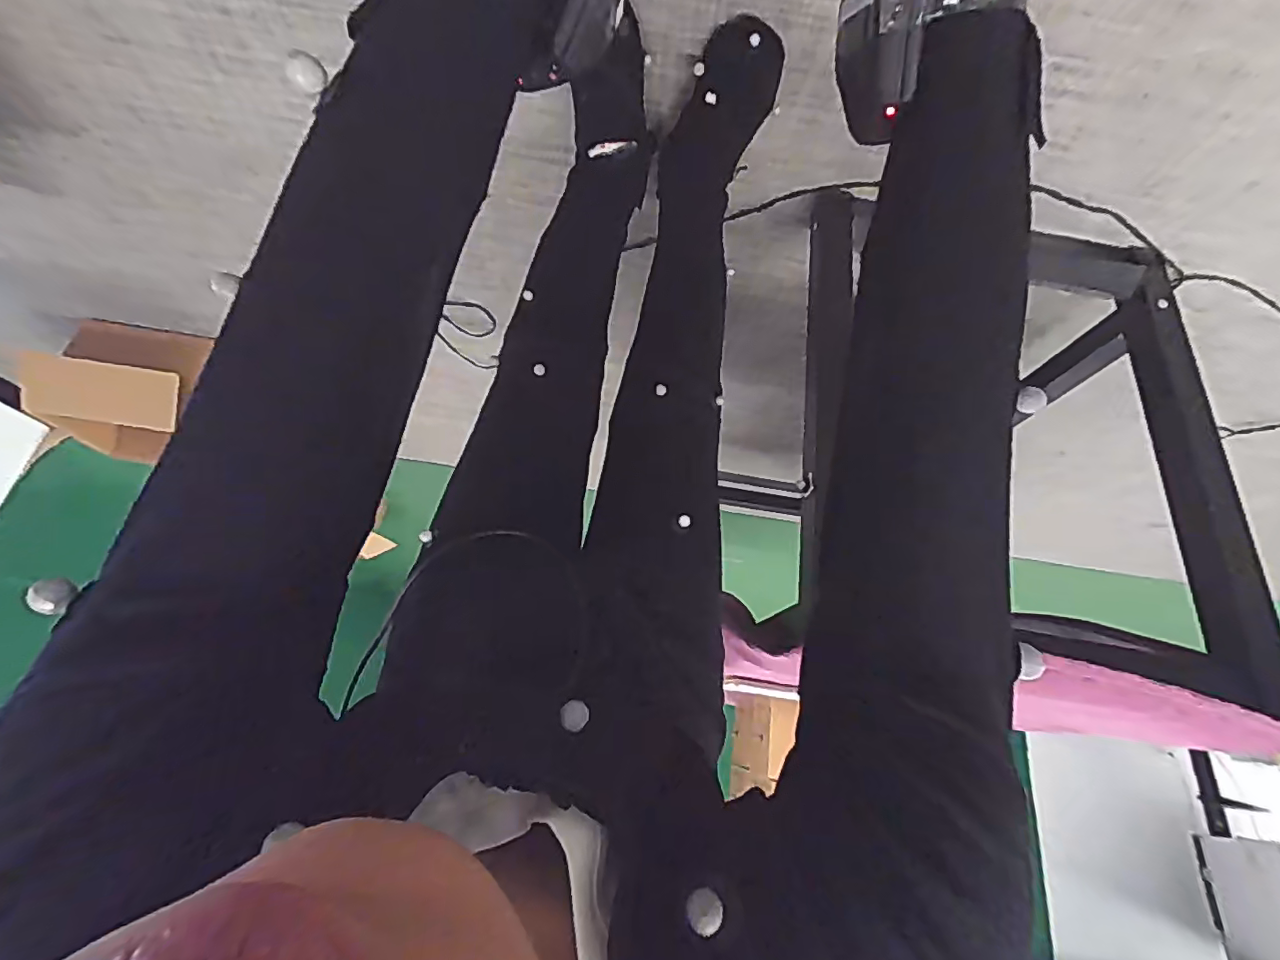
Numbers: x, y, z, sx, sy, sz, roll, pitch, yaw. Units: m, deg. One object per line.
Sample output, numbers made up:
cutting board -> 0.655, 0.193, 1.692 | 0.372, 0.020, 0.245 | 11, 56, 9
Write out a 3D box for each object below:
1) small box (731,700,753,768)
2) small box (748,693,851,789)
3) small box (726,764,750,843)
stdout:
small box -> 0.359, 0.703, 1.483 | 0.179, 0.176, 0.168 | 10, 156, -2
small box -> 0.346, 0.568, 1.192 | 0.179, 0.176, 0.168 | 8, 156, 0
small box -> 0.336, 0.849, 1.411 | 0.179, 0.176, 0.168 | 10, 157, -1
